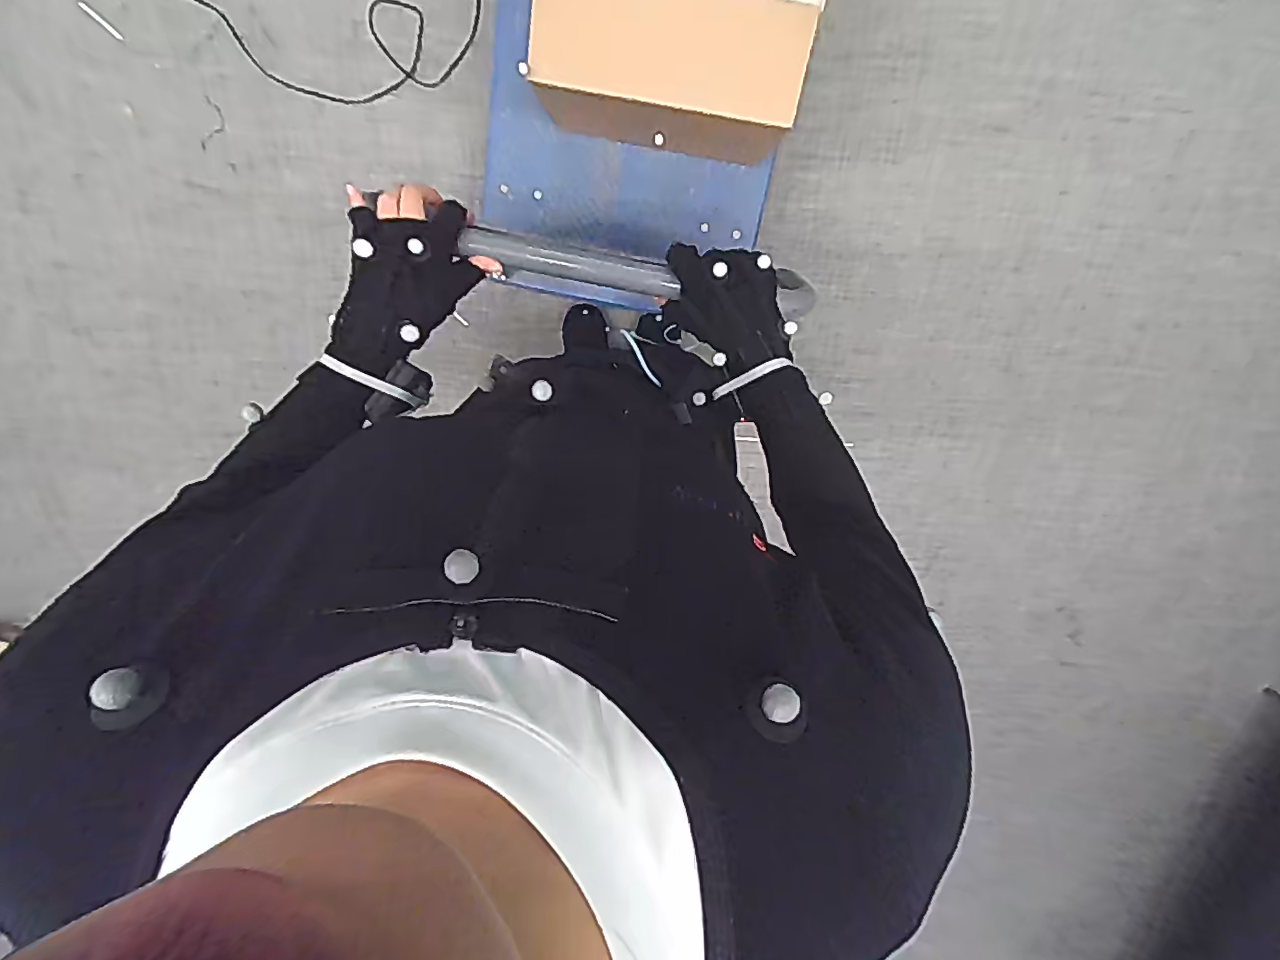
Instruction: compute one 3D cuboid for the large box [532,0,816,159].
[{"bbox_3d":[0.062,-0.760,0.901,0.408,0.320,0.320,9,110,-1],"label":"large box"}]
